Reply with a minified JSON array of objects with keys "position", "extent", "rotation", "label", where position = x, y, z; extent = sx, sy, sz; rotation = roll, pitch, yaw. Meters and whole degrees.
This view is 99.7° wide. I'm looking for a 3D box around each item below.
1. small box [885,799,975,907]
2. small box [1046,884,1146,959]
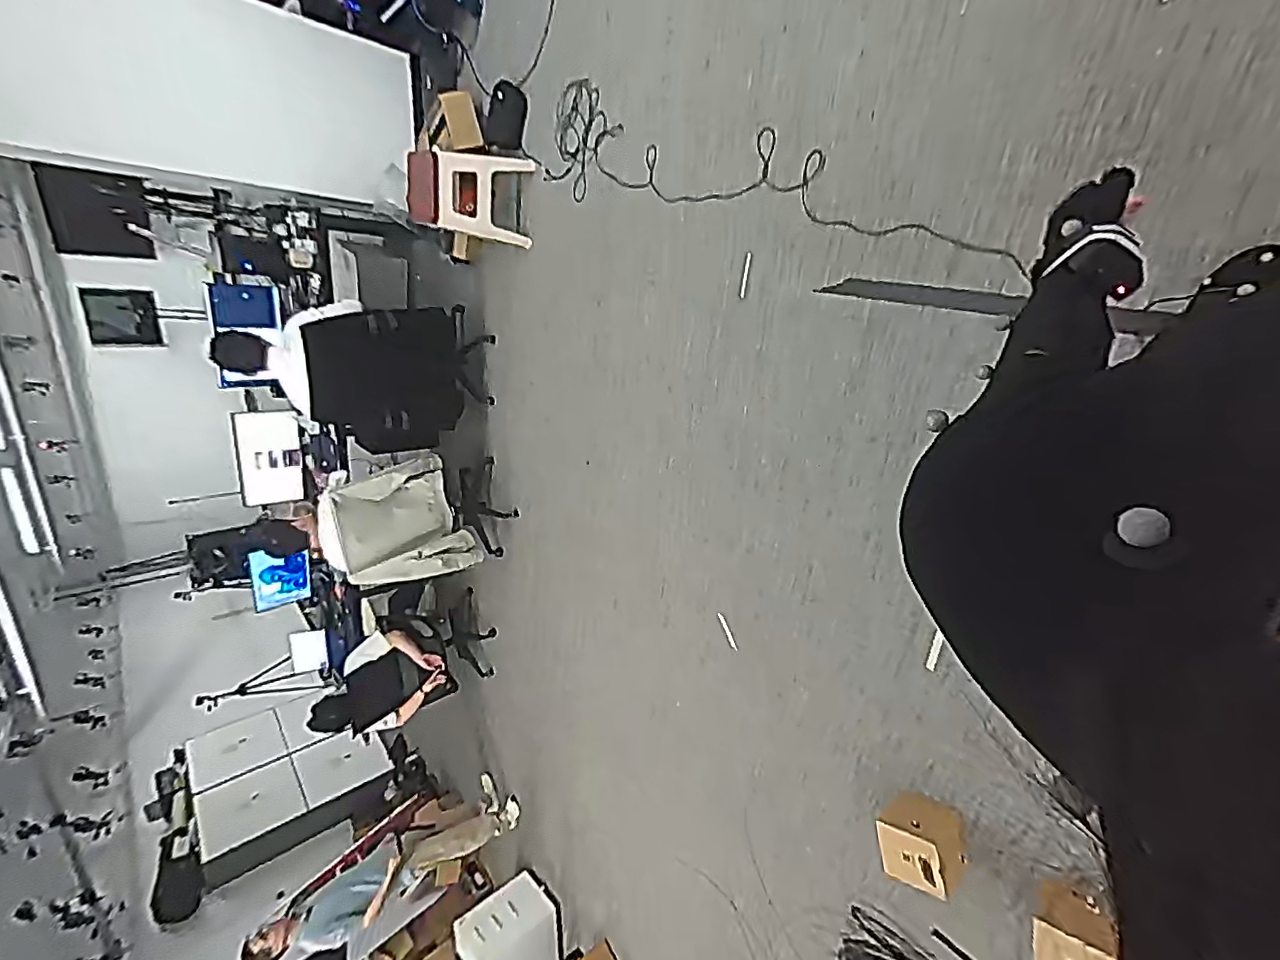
[{"position":[0.844,1.064,1.564],"extent":[0.179,0.176,0.168],"rotation":[-8,93,51],"label":"small box"},{"position":[1.094,1.138,1.296],"extent":[0.168,0.176,0.179],"rotation":[1,100,48],"label":"small box"}]
